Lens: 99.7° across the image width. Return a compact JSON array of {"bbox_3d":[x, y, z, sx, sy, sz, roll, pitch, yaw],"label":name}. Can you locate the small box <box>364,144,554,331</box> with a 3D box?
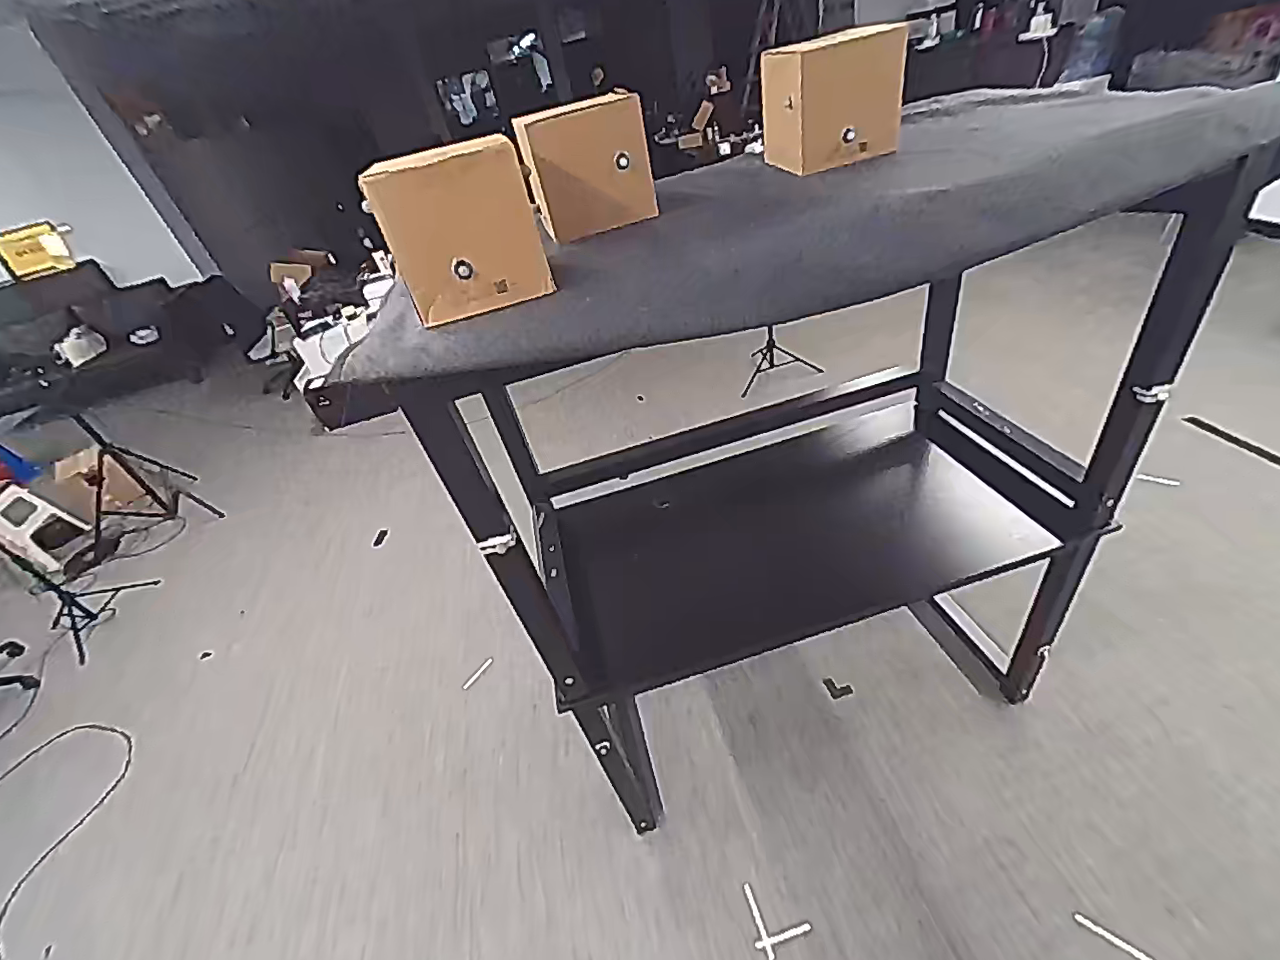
[{"bbox_3d":[-0.218,-0.308,0.684,0.168,0.176,0.179,-18,37,-7],"label":"small box"}]

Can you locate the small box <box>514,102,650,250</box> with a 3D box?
[{"bbox_3d":[-0.090,-0.496,0.880,0.179,0.176,0.168,-19,38,-7],"label":"small box"}]
